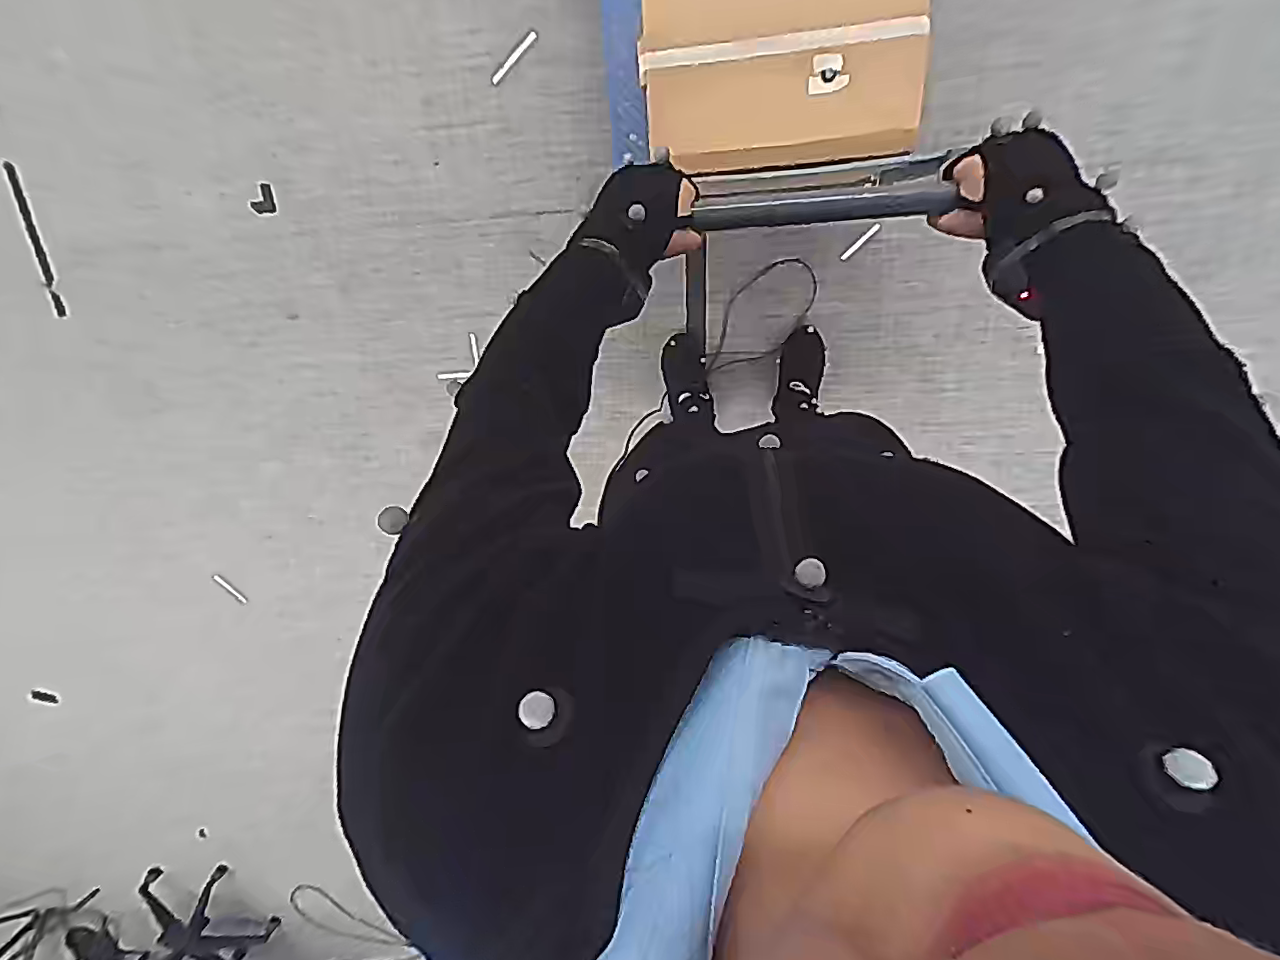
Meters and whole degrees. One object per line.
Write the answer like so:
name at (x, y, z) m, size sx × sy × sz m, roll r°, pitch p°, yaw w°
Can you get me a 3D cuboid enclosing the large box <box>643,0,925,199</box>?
large box at (0.223, -0.698, 0.939) m, size 0.408 × 0.320 × 0.320 m, roll -2°, pitch 112°, yaw 7°
